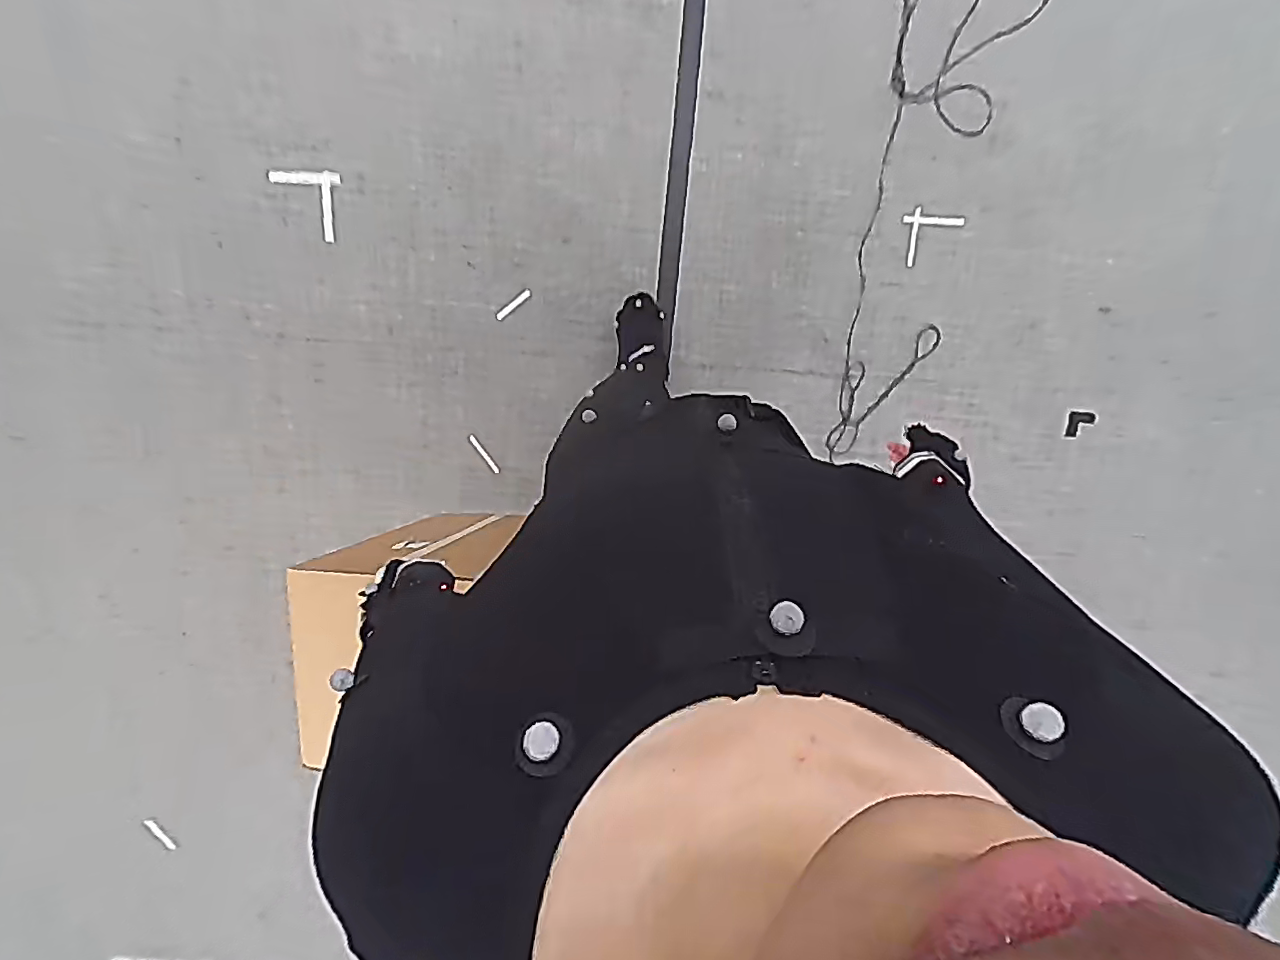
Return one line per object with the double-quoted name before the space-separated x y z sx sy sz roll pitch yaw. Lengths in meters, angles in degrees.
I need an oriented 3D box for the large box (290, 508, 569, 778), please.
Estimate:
"large box" -0.328 0.246 0.965 0.320 0.408 0.320 1 99 10
